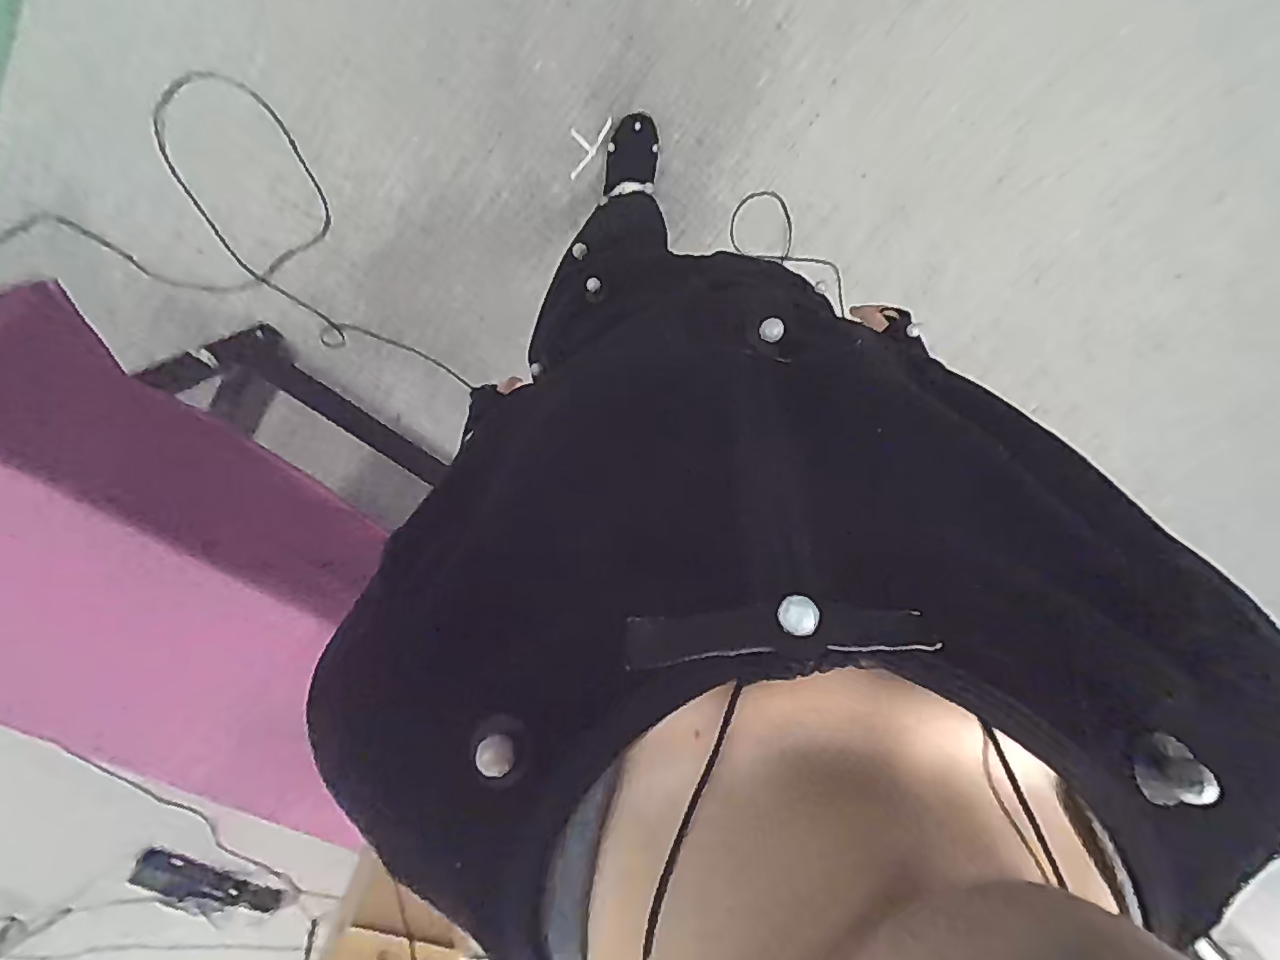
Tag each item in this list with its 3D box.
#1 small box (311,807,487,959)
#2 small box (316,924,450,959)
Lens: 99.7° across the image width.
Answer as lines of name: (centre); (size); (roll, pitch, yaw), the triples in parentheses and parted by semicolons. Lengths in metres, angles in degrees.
small box: (-0.368, 0.654, 0.852); (0.179, 0.176, 0.168); (30, 115, -16)
small box: (-0.367, 0.720, 0.703); (0.168, 0.176, 0.179); (27, 116, -14)
